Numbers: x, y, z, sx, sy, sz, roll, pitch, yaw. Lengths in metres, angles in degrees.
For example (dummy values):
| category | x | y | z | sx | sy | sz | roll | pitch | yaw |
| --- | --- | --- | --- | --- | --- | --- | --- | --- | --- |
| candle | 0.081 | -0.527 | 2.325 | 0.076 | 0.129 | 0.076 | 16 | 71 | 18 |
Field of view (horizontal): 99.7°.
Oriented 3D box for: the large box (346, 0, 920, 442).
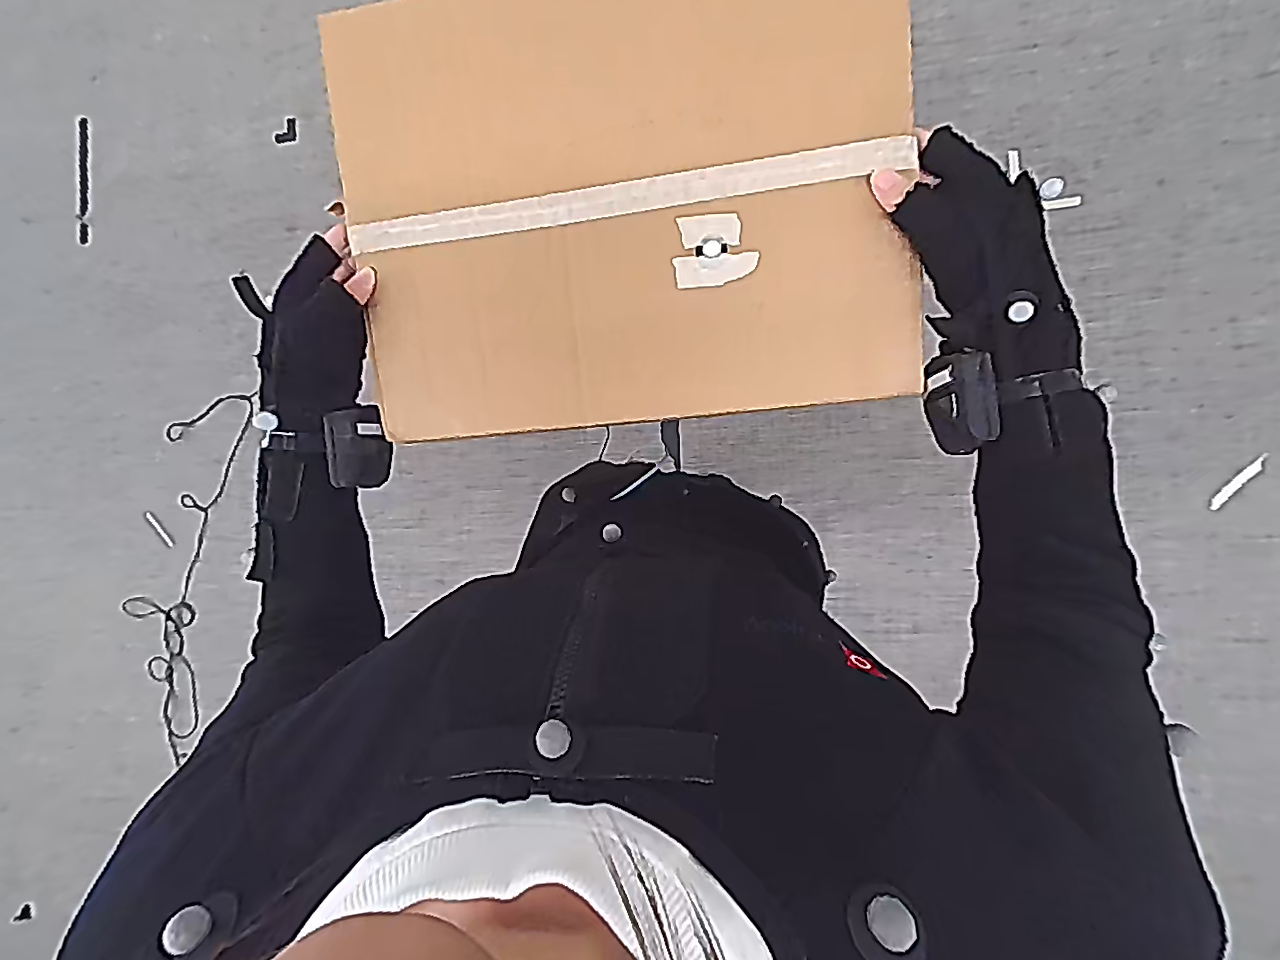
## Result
| category | x | y | z | sx | sy | sz | roll | pitch | yaw |
| --- | --- | --- | --- | --- | --- | --- | --- | --- | --- |
| large box | 0.005 | -0.220 | 0.544 | 0.408 | 0.320 | 0.320 | -5 | 98 | 8 |
